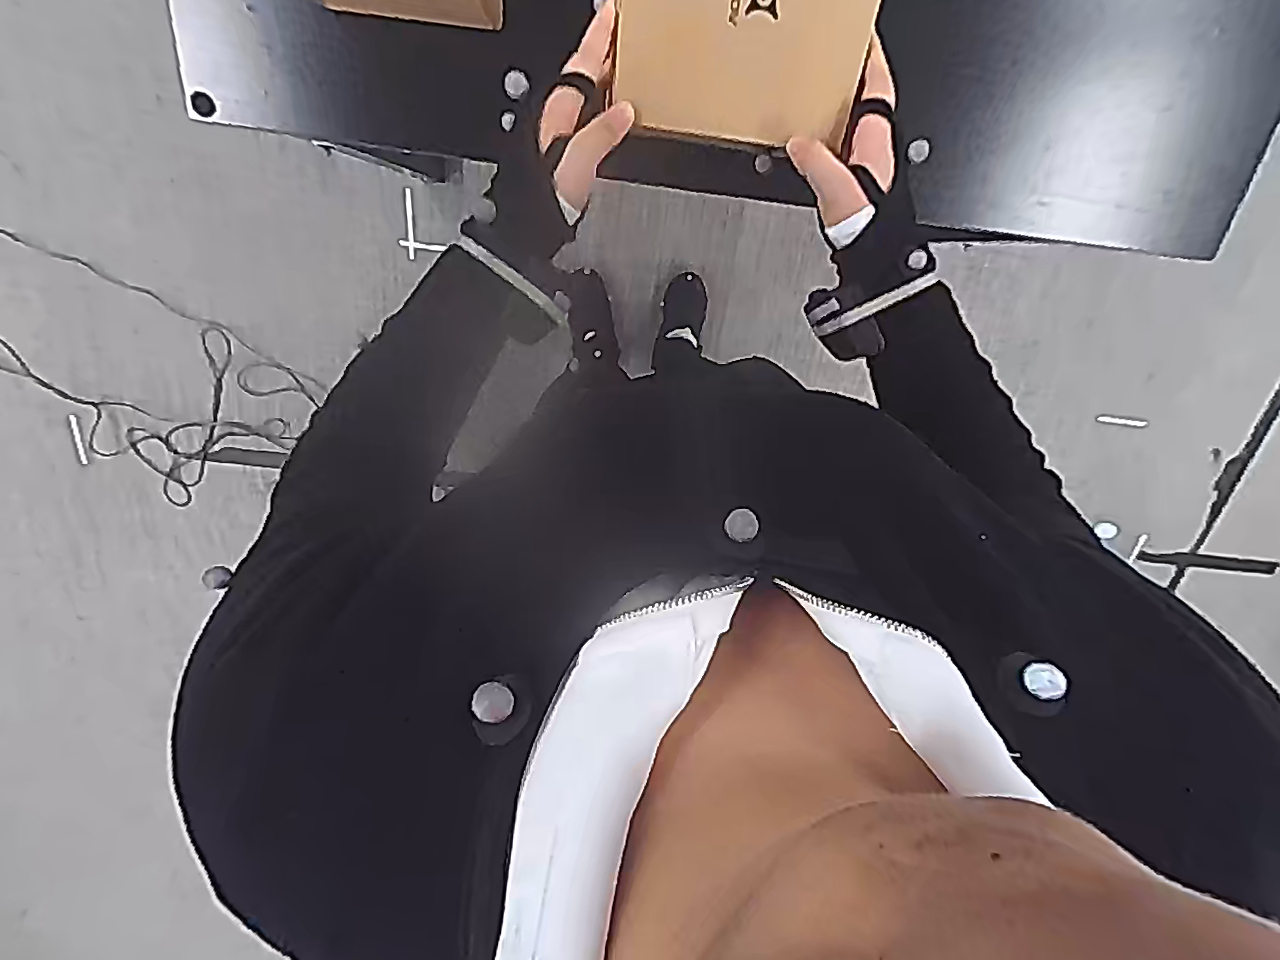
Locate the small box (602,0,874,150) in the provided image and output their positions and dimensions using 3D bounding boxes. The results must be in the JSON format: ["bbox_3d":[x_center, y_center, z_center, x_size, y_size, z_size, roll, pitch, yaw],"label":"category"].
[{"bbox_3d":[0.065,-0.365,0.420,0.179,0.176,0.168,4,121,-7],"label":"small box"}]

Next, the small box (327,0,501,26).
[{"bbox_3d":[-0.219,-0.509,0.443,0.179,0.176,0.168,3,113,-4],"label":"small box"}]
